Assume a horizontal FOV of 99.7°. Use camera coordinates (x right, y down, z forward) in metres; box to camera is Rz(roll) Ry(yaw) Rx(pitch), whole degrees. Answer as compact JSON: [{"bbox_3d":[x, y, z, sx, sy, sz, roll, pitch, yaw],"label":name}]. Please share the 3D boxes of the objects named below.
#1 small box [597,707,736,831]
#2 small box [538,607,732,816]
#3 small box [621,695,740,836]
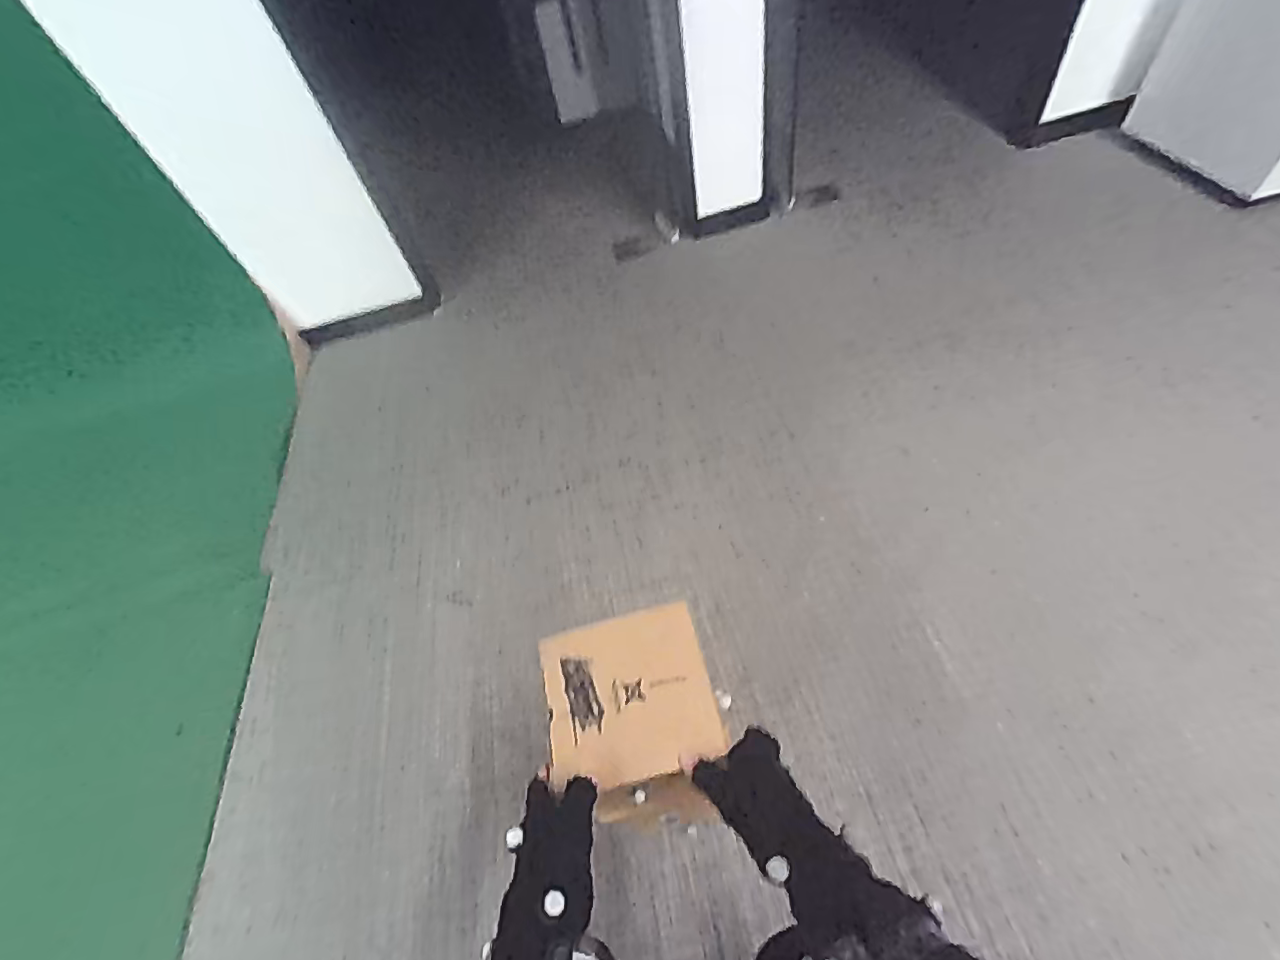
[{"bbox_3d":[0.031,0.371,0.756,0.168,0.176,0.179,-15,54,4],"label":"small box"},{"bbox_3d":[-0.003,0.275,0.628,0.179,0.176,0.168,-16,53,2],"label":"small box"},{"bbox_3d":[0.060,0.468,0.883,0.179,0.176,0.168,-13,52,3],"label":"small box"}]
